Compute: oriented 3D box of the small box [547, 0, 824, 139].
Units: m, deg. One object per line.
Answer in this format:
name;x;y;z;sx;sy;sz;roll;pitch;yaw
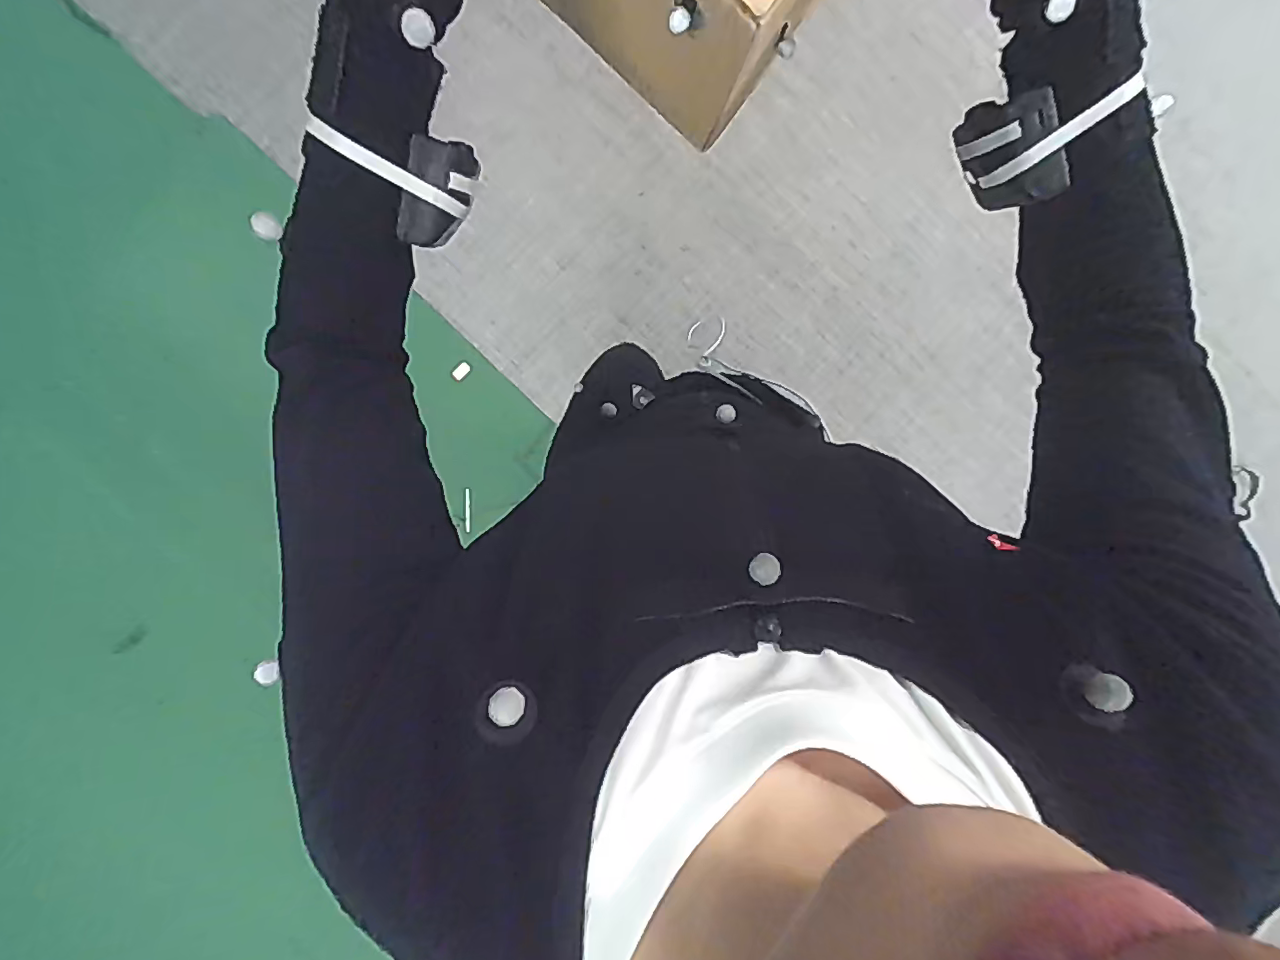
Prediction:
small box;0.039;-0.363;0.336;0.179;0.176;0.168;39;97;-10
